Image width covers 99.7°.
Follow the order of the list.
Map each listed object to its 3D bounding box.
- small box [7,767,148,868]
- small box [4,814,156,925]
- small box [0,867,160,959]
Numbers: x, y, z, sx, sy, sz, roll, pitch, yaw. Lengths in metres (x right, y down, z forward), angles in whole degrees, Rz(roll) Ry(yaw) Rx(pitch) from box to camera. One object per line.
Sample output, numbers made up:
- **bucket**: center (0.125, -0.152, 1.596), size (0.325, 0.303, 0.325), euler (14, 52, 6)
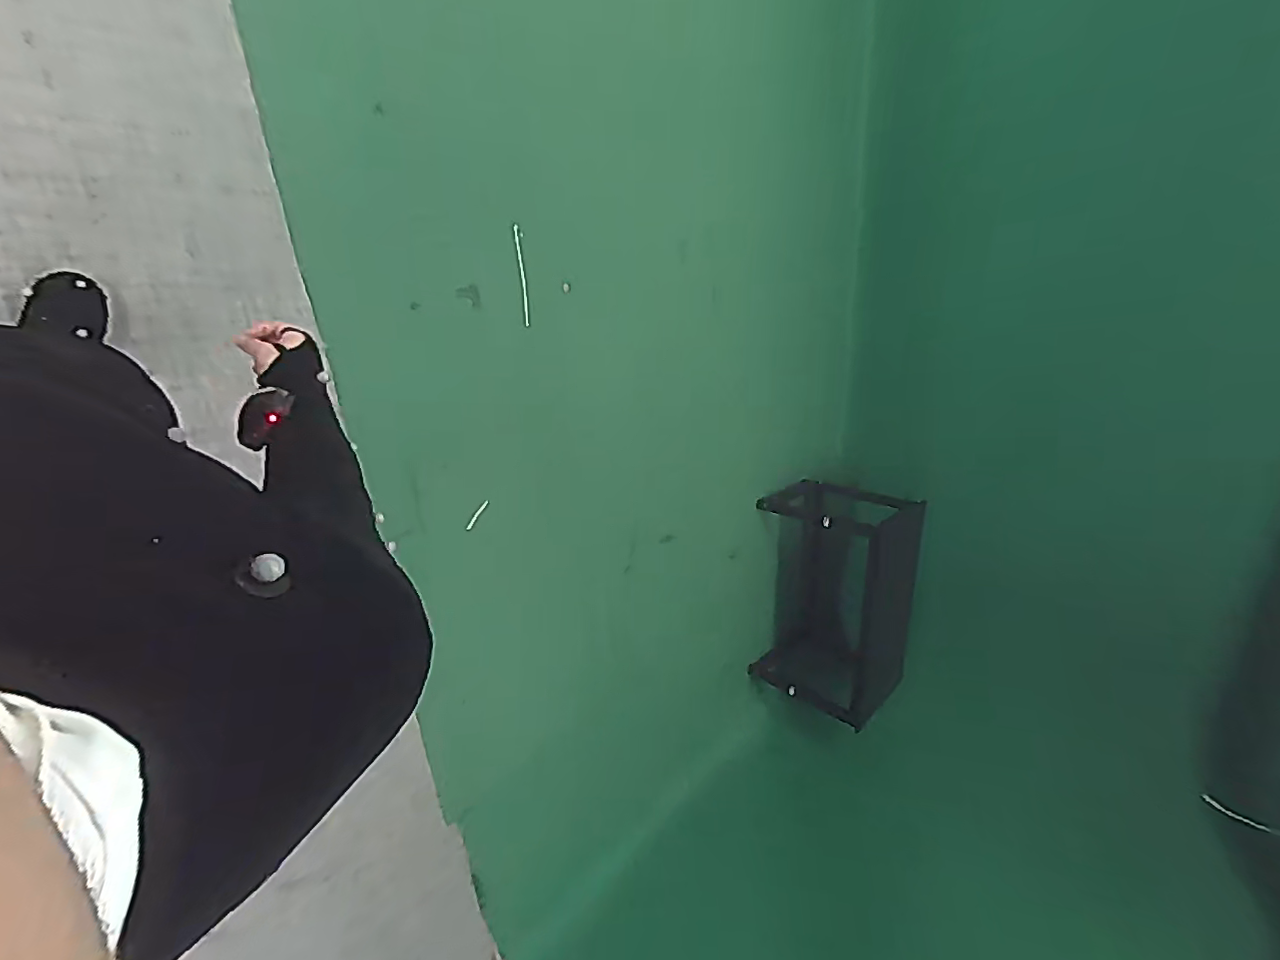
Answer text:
- **small box**: center (-1.256, 0.797, 1.220), size (0.168, 0.176, 0.179), euler (-29, 121, -37)
- **small box**: center (-1.141, 0.831, 1.108), size (0.168, 0.176, 0.179), euler (-25, 120, -39)
- **small box**: center (-1.030, 0.866, 0.996), size (0.168, 0.176, 0.179), euler (-25, 119, -39)
